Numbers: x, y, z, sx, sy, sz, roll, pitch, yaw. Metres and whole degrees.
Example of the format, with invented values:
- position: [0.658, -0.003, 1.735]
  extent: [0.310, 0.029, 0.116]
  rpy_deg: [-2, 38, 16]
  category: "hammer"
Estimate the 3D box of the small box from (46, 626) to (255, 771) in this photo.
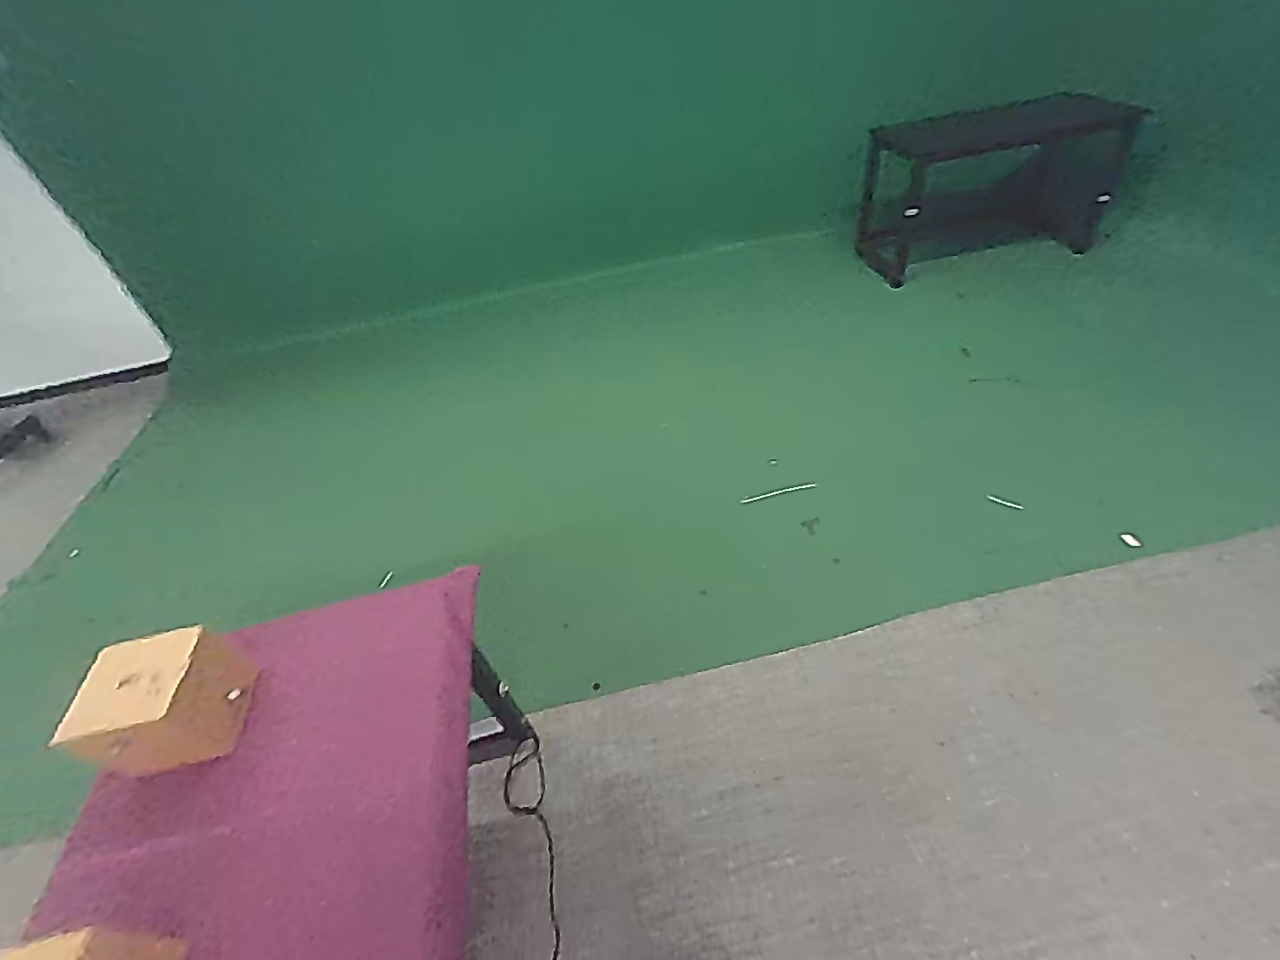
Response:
- position: [-0.827, 0.382, 0.939]
  extent: [0.179, 0.176, 0.168]
  rpy_deg: [-12, 46, -3]
  category: "small box"

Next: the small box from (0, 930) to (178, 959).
- position: [-0.716, 0.666, 0.635]
  extent: [0.179, 0.176, 0.168]
  rpy_deg: [-12, 44, -4]
  category: "small box"
